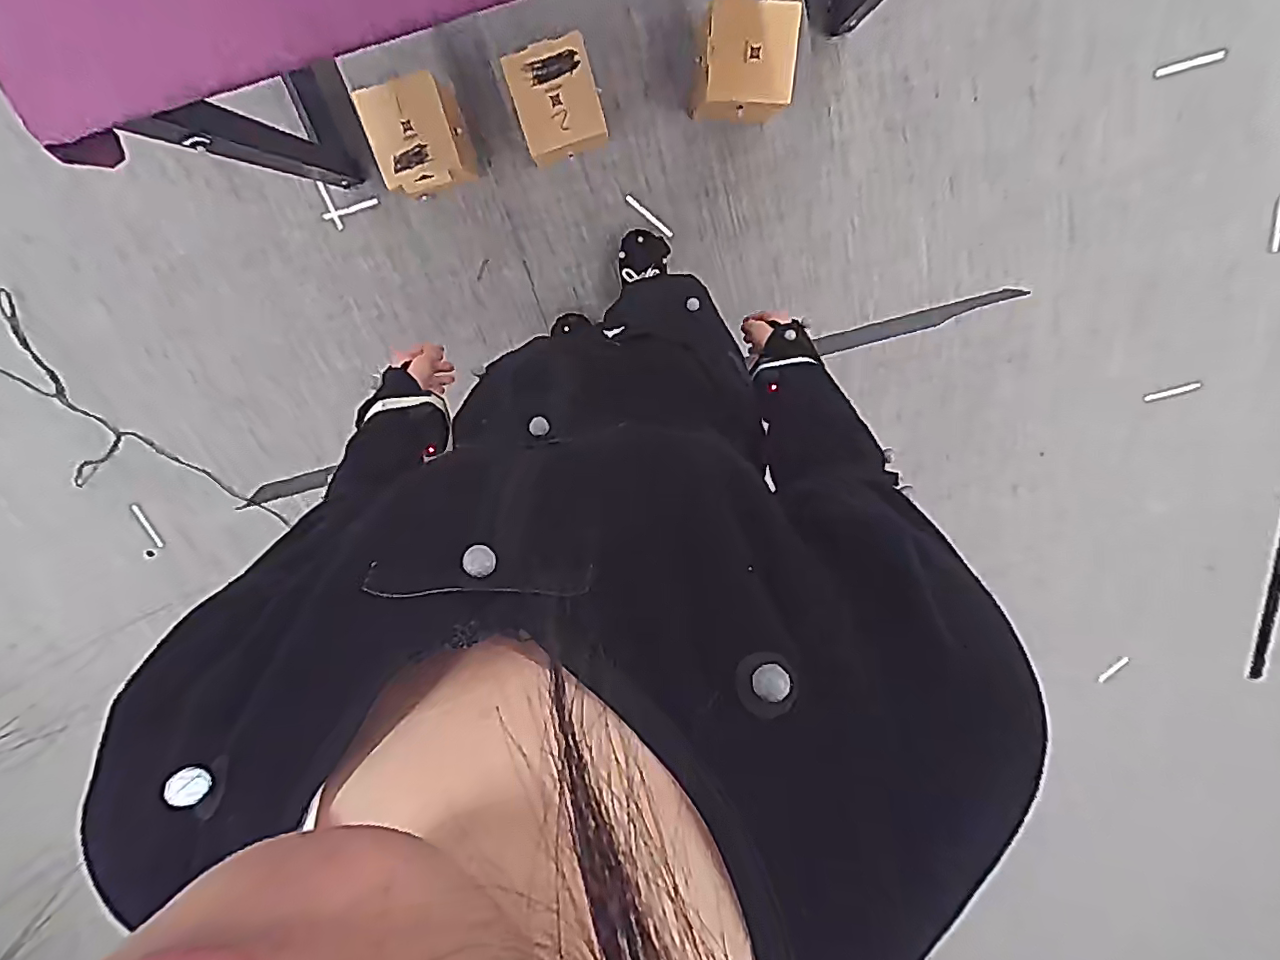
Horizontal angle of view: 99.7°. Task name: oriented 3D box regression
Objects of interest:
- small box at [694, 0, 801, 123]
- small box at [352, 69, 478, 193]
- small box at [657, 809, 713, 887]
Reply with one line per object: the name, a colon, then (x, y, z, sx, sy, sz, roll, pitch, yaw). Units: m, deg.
small box: (0.215, -0.861, 1.127, 0.179, 0.176, 0.168, 1, 113, -3)
small box: (-0.462, -0.723, 1.145, 0.168, 0.176, 0.179, -14, 111, 2)
small box: (0.169, 1.396, 2.057, 0.168, 0.176, 0.179, -16, 113, 4)
